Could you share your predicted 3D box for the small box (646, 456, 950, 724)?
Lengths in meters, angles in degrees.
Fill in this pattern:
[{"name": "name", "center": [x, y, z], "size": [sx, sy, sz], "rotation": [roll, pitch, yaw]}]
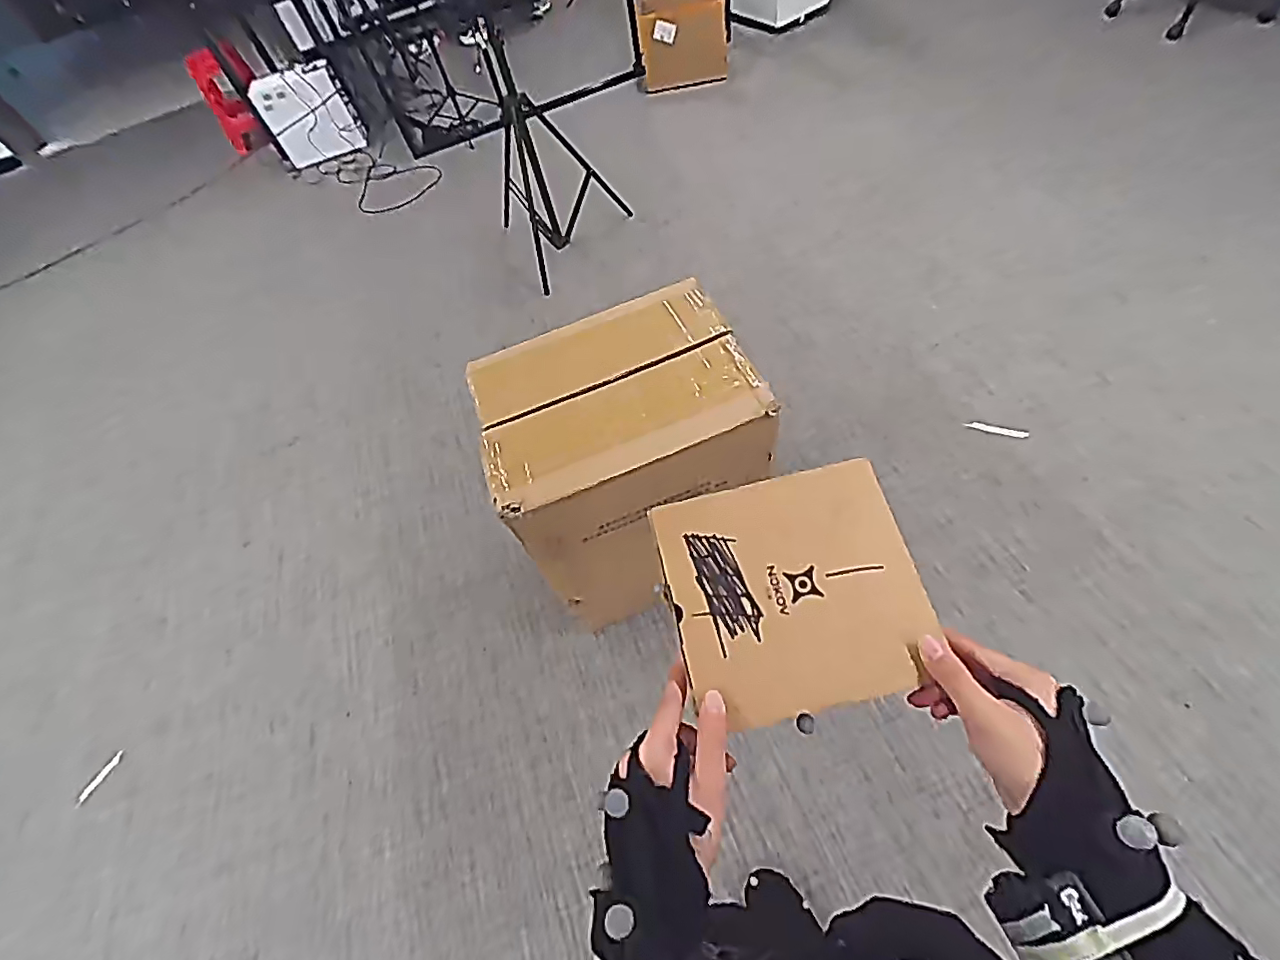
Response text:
[{"name": "small box", "center": [0.113, 0.104, 0.458], "size": [0.179, 0.176, 0.168], "rotation": [-13, 66, 1]}]
